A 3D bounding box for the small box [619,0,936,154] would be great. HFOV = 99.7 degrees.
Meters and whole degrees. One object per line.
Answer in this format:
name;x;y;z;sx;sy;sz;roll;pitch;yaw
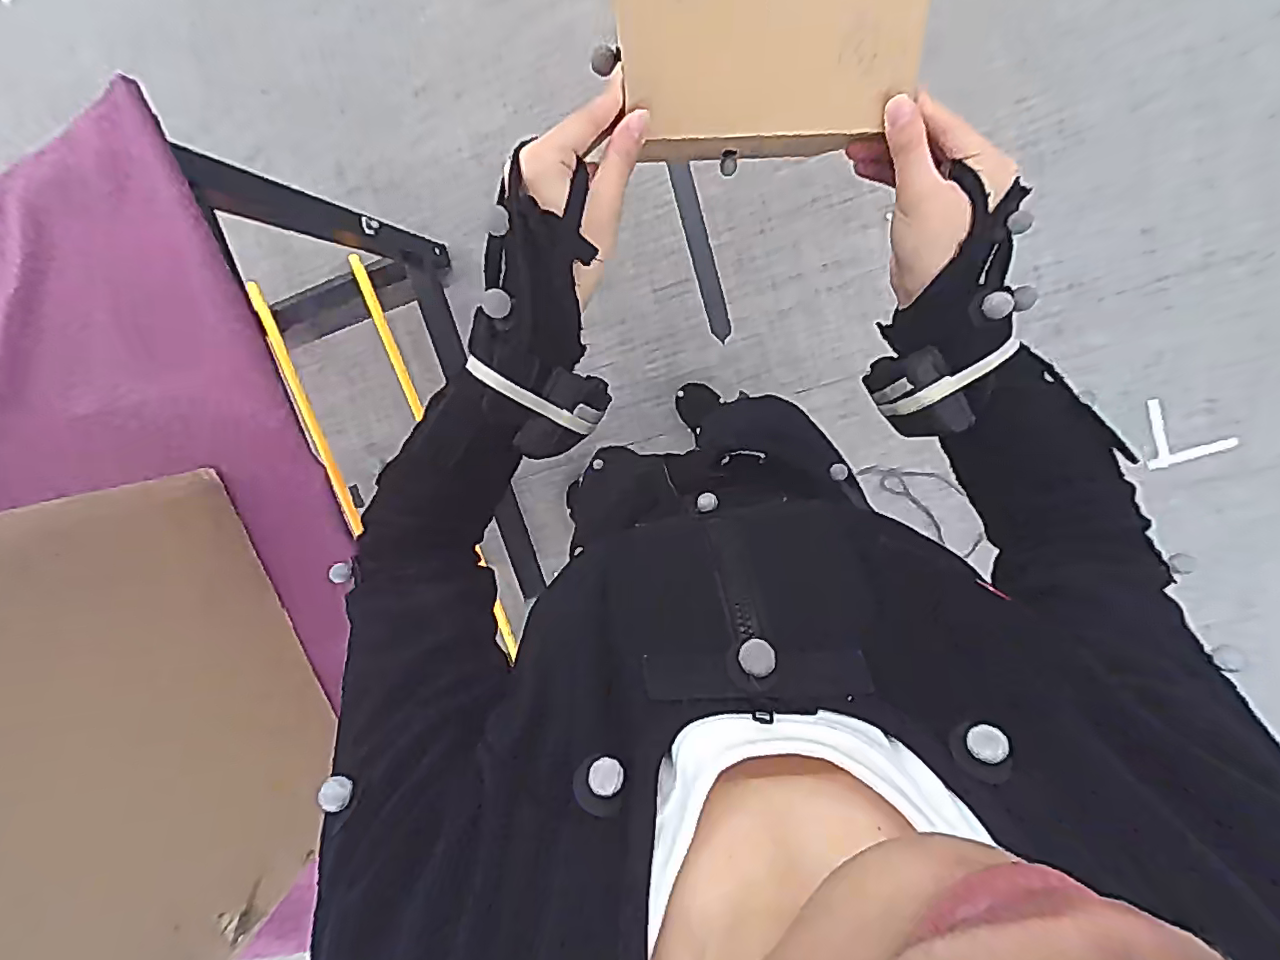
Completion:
small box;0.071;-0.312;0.342;0.168;0.176;0.179;-3;116;-2
